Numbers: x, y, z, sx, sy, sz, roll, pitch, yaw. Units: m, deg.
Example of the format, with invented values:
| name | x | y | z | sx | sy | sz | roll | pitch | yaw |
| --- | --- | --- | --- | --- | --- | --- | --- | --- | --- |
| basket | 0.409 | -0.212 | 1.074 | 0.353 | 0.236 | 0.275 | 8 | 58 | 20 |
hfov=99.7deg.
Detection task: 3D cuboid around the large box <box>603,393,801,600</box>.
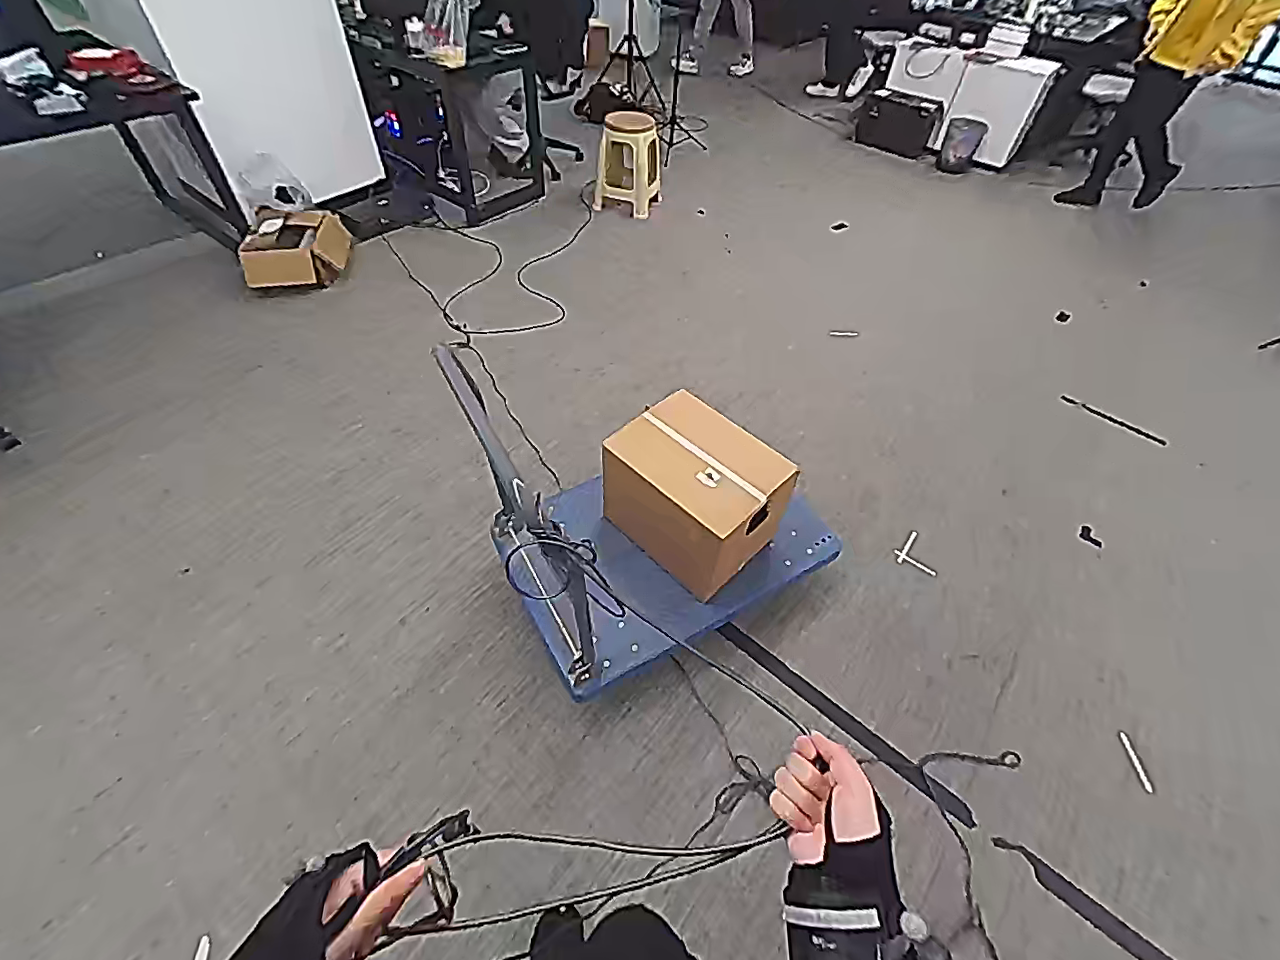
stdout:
| name | x | y | z | sx | sy | sz | roll | pitch | yaw |
| --- | --- | --- | --- | --- | --- | --- | --- | --- | --- |
| large box | 0.143 | 0.039 | 1.462 | 0.320 | 0.320 | 0.408 | -37 | 62 | -28 |
